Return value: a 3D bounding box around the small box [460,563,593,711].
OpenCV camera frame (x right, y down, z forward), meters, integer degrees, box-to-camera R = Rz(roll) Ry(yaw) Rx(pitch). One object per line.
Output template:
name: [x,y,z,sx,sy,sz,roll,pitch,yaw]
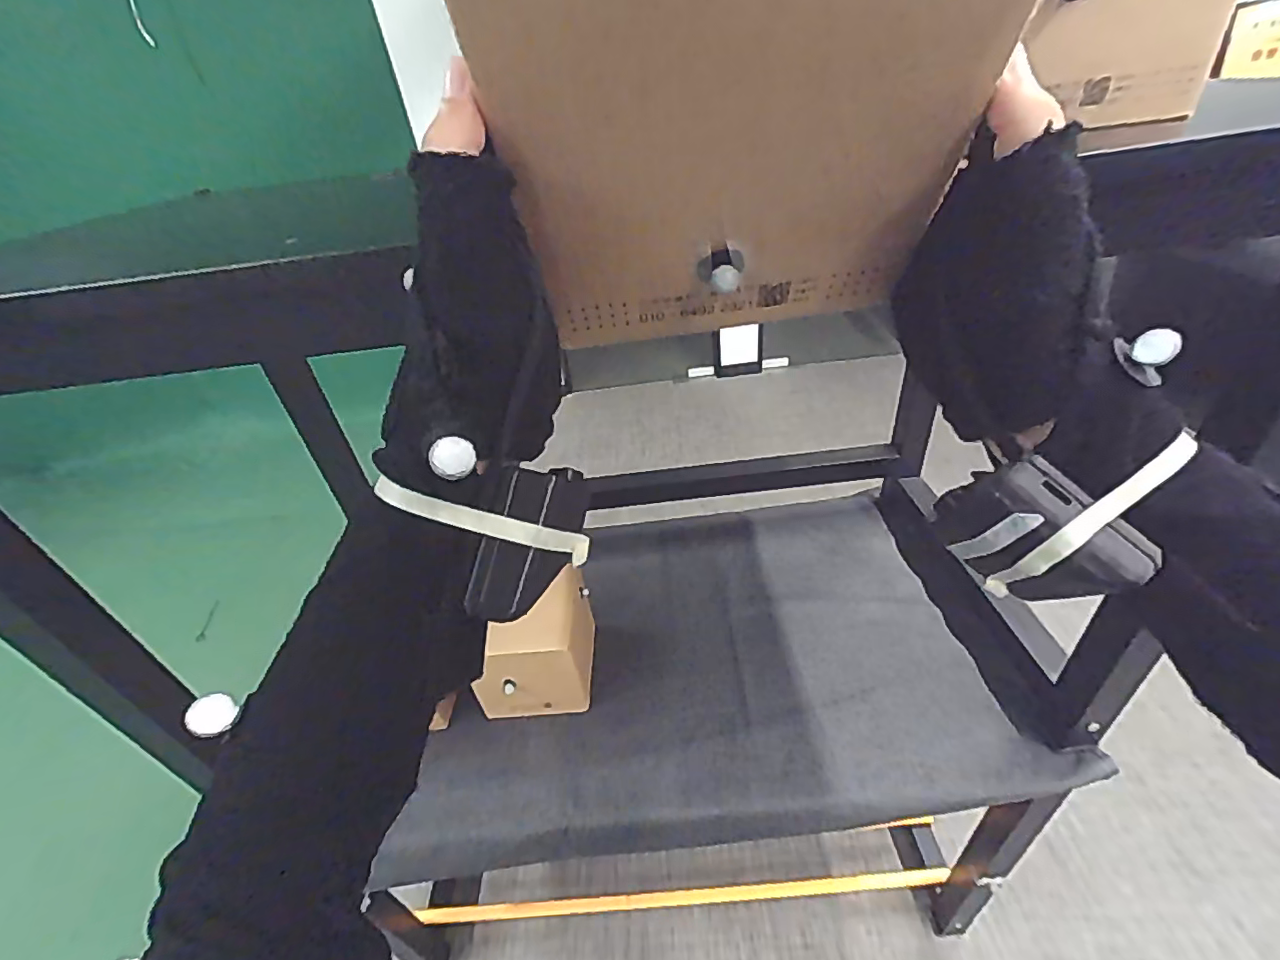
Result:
small box: [-0.175,0.263,0.896,0.168,0.176,0.179,-5,35,3]
